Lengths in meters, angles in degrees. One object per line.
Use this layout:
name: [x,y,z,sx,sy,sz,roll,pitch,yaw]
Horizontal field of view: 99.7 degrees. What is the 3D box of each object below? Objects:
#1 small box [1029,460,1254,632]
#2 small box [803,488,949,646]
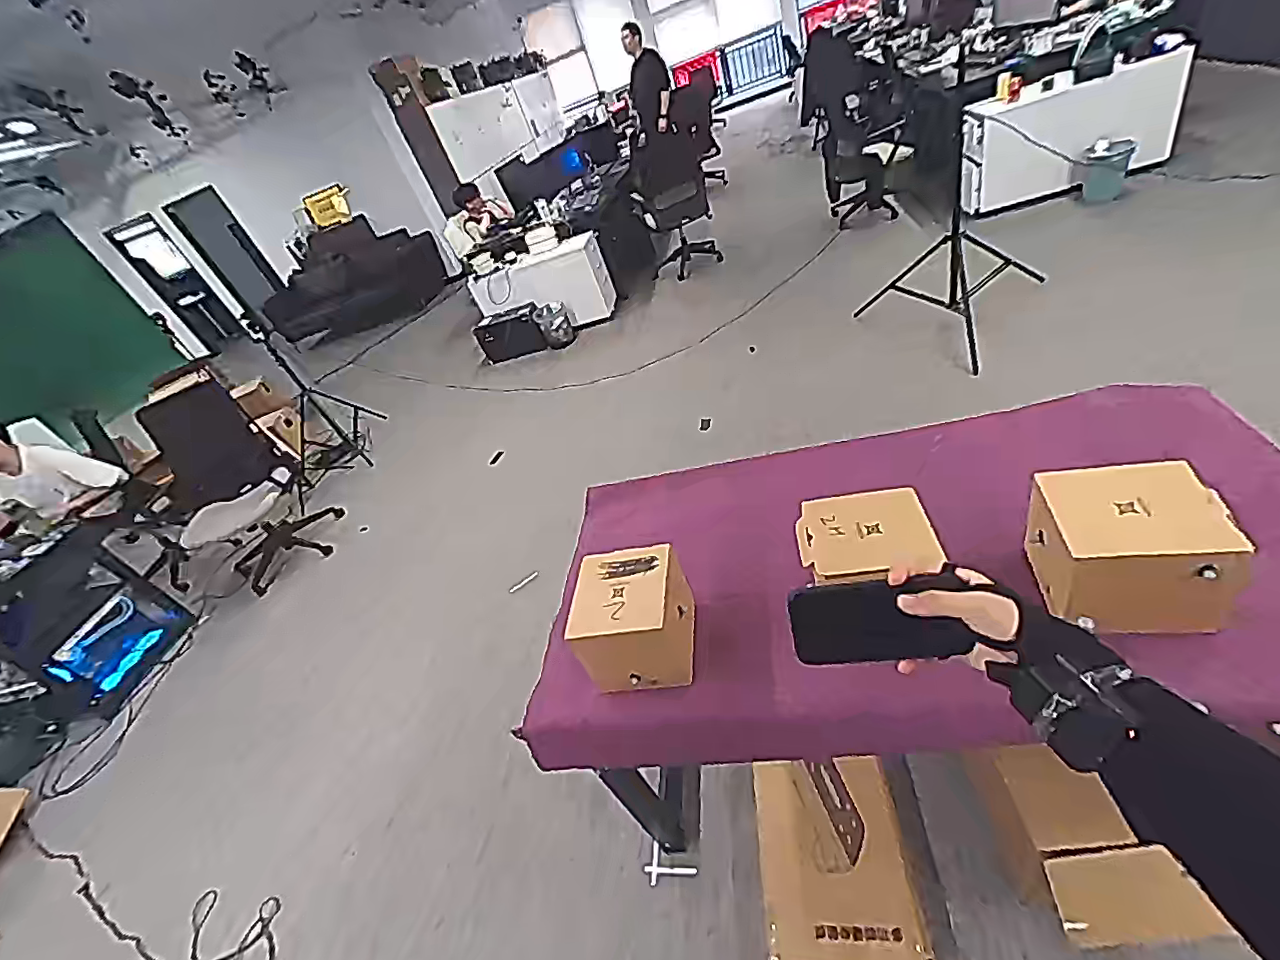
small box: [0.663,0.096,0.748,0.179,0.176,0.168,-7,39,21]
small box: [0.365,0.141,0.852,0.179,0.176,0.168,-12,35,16]
